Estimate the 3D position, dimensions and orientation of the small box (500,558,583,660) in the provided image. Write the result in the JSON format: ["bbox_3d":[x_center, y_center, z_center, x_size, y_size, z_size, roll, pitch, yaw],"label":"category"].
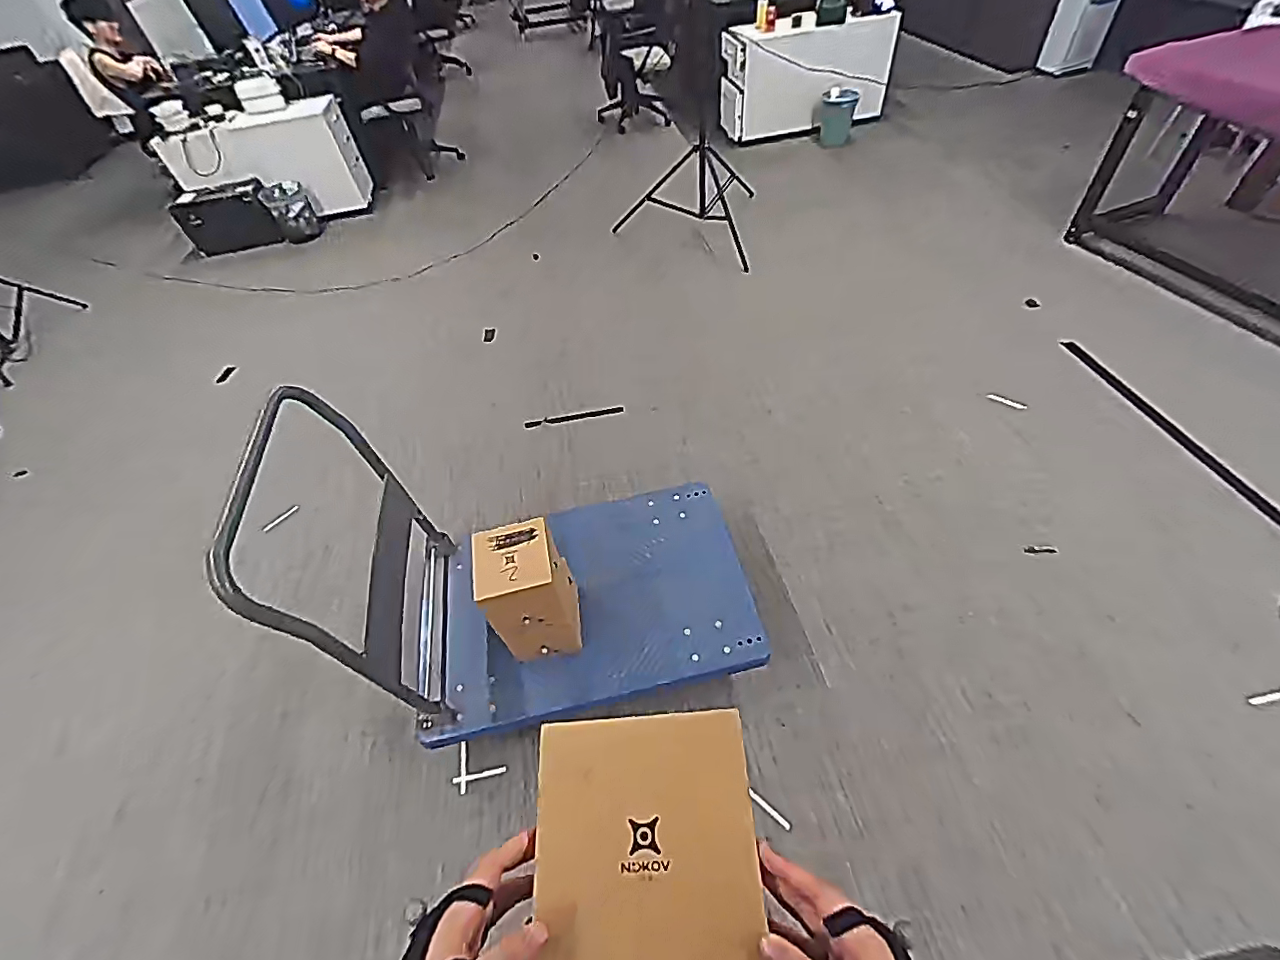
[{"bbox_3d":[-0.240,0.321,1.341,0.168,0.176,0.179,-10,50,-1],"label":"small box"}]
